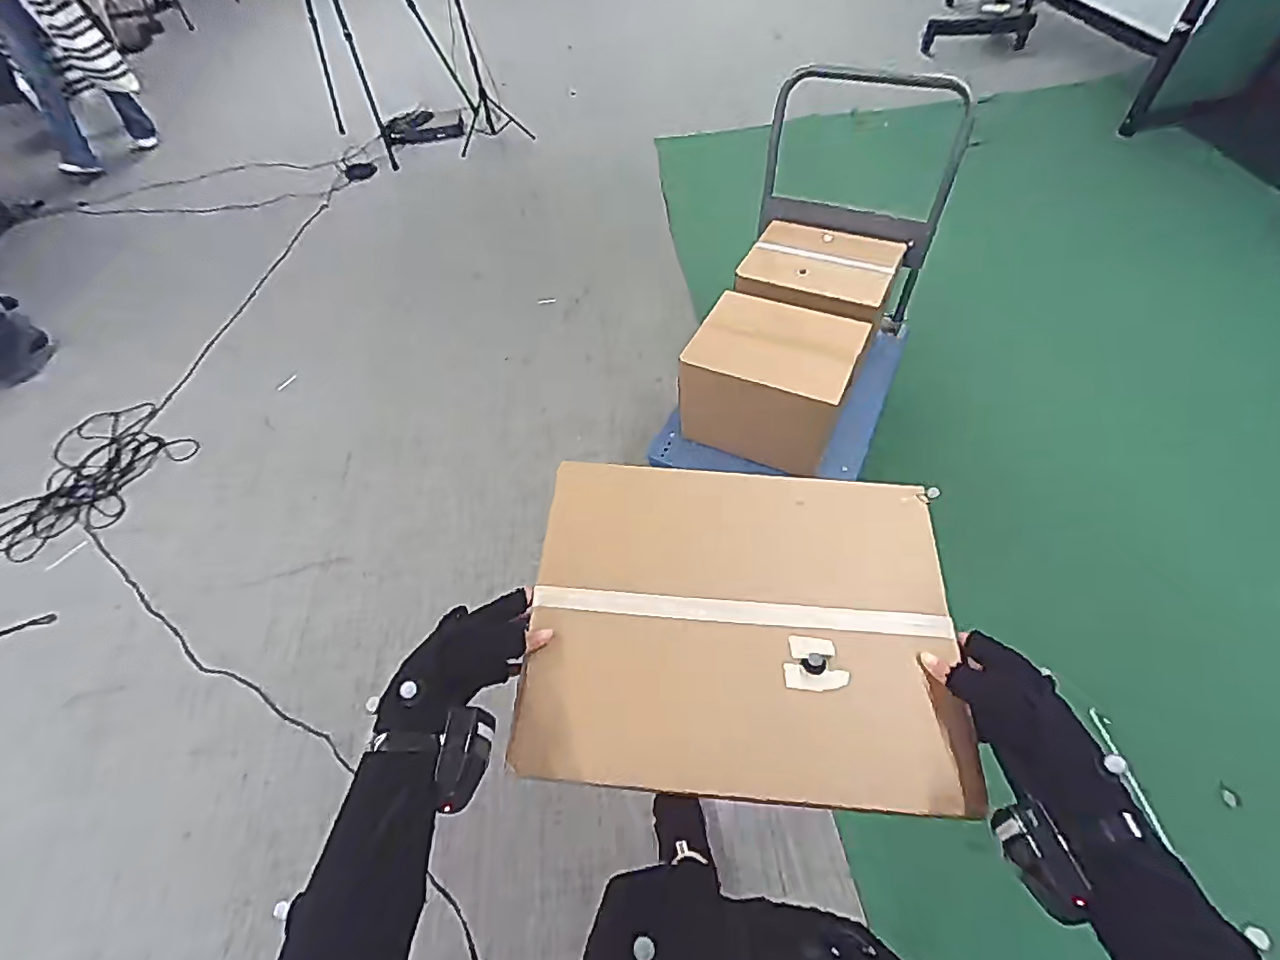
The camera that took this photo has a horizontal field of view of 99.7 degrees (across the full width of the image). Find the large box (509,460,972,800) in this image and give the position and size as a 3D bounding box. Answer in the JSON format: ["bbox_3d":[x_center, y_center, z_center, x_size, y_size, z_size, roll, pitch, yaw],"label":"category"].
[{"bbox_3d":[0.090,0.197,0.660,0.408,0.320,0.320,5,60,2],"label":"large box"}]
